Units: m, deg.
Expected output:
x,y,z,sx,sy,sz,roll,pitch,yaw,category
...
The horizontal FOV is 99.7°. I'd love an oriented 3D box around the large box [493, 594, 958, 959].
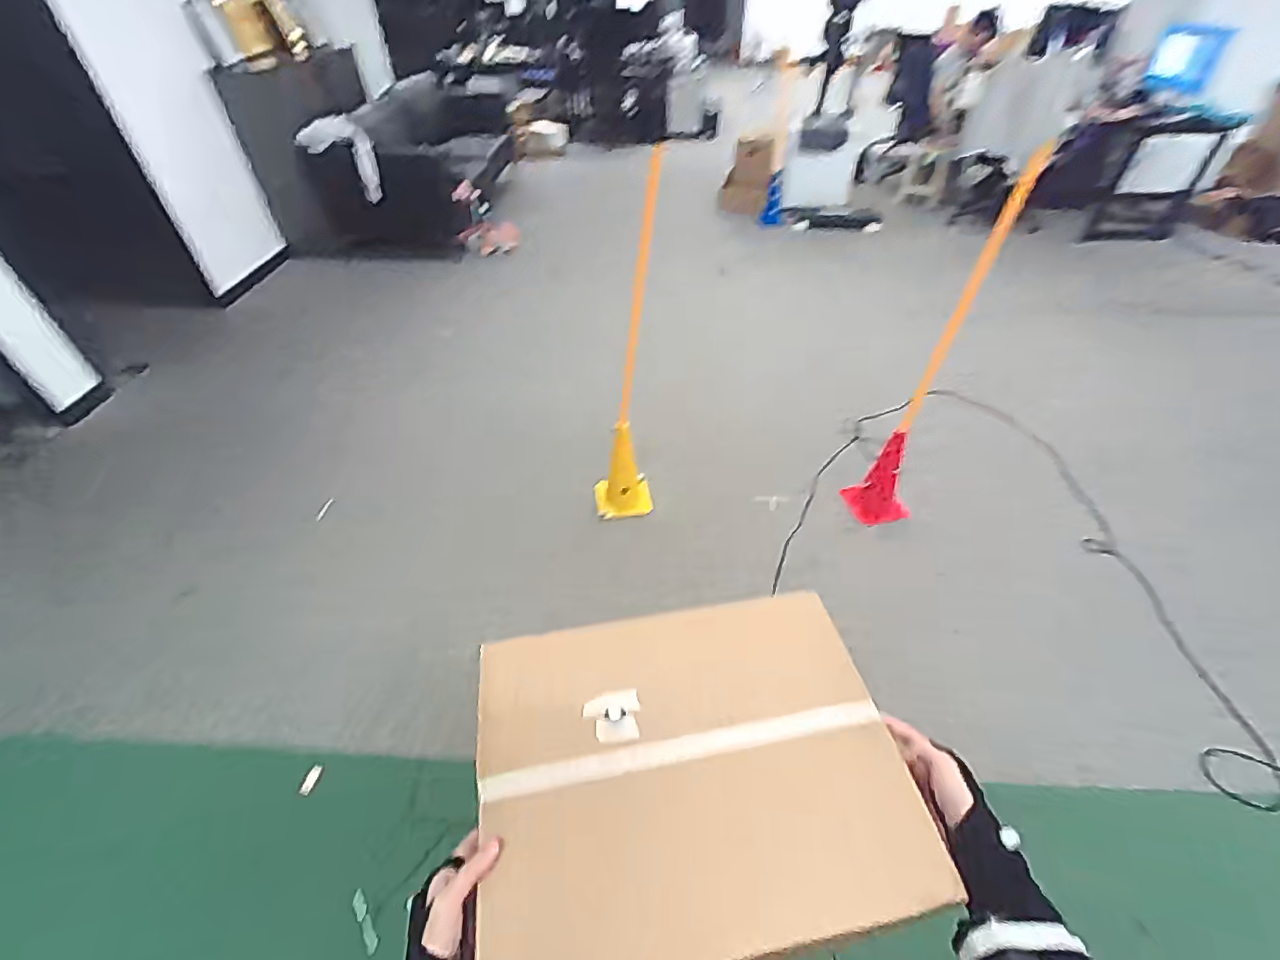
x,y,z,sx,sy,sz,roll,pitch,yaw,category
0.060,0.380,0.648,0.408,0.320,0.320,-8,44,-6,large box
